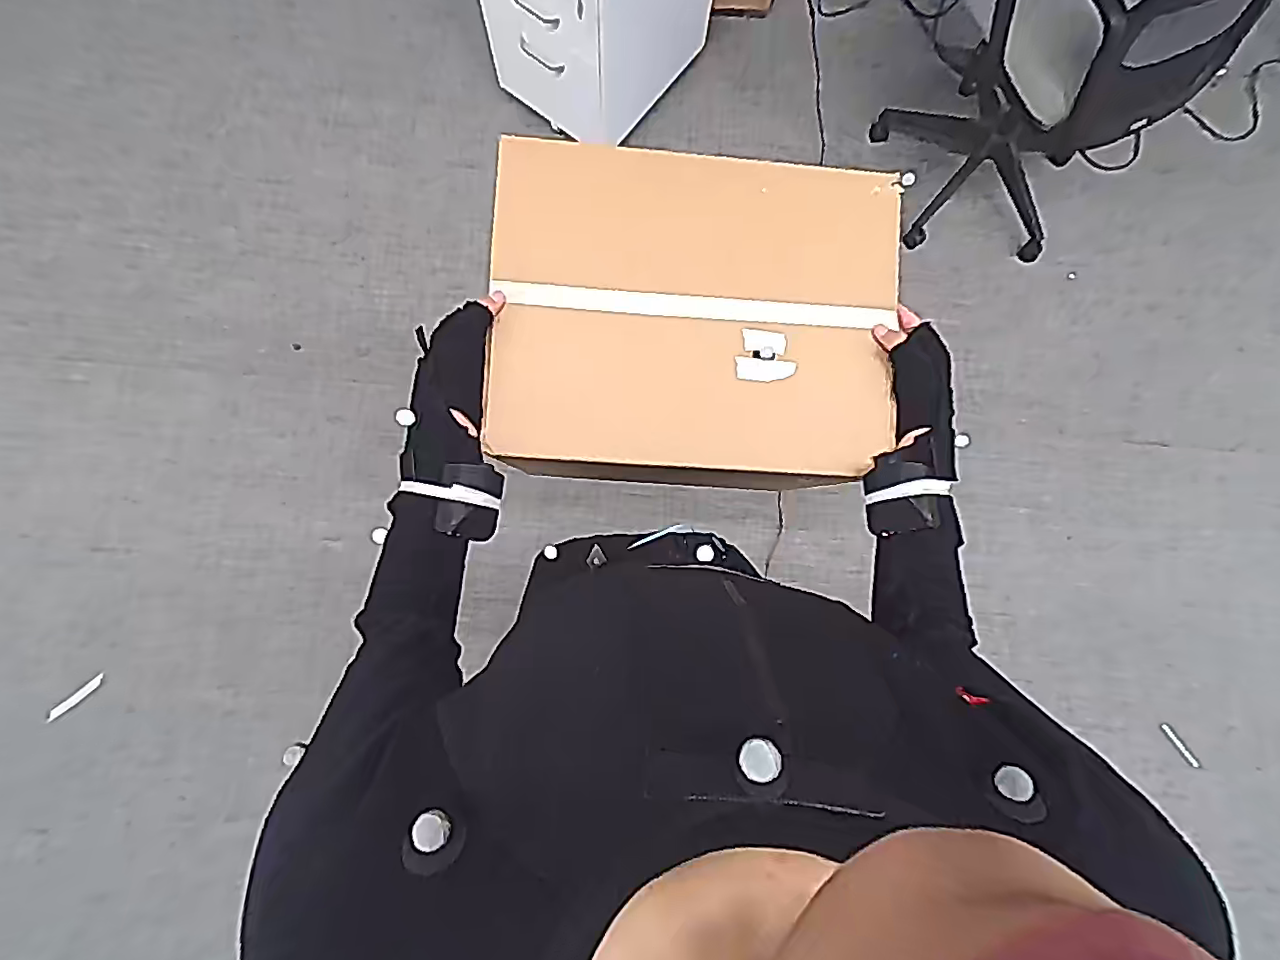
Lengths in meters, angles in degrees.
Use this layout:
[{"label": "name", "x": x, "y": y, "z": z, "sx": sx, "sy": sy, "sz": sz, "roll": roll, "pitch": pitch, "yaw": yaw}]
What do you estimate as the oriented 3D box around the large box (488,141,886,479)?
[{"label": "large box", "x": 0.041, "y": -0.170, "z": 0.694, "sx": 0.408, "sy": 0.320, "sz": 0.320, "roll": 4, "pitch": 88, "yaw": -5}]
